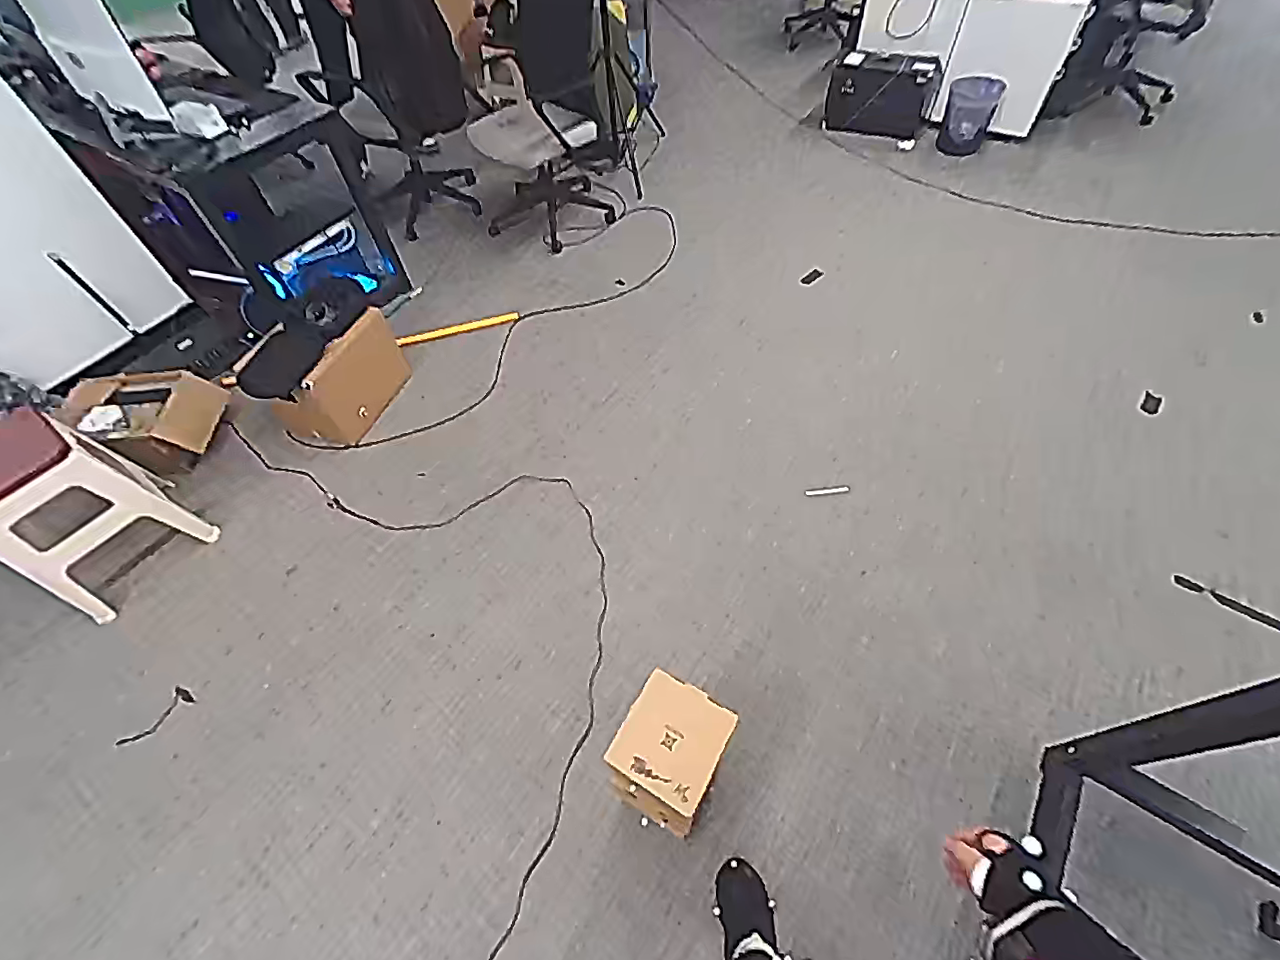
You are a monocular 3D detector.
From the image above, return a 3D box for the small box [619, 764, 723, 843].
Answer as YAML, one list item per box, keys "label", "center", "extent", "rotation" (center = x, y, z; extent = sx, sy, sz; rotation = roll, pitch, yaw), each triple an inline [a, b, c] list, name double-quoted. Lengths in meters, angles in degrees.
- label: "small box"
  center: [0.071, 0.681, 1.218]
  extent: [0.168, 0.176, 0.179]
  rotation: [25, 60, 21]

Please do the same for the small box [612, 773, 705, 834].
- label: "small box"
  center: [0.063, 0.581, 1.090]
  extent: [0.168, 0.176, 0.179]
  rotation: [22, 57, 18]

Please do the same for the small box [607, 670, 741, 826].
- label: "small box"
  center: [0.060, 0.478, 0.961]
  extent: [0.168, 0.176, 0.179]
  rotation: [25, 58, 21]
